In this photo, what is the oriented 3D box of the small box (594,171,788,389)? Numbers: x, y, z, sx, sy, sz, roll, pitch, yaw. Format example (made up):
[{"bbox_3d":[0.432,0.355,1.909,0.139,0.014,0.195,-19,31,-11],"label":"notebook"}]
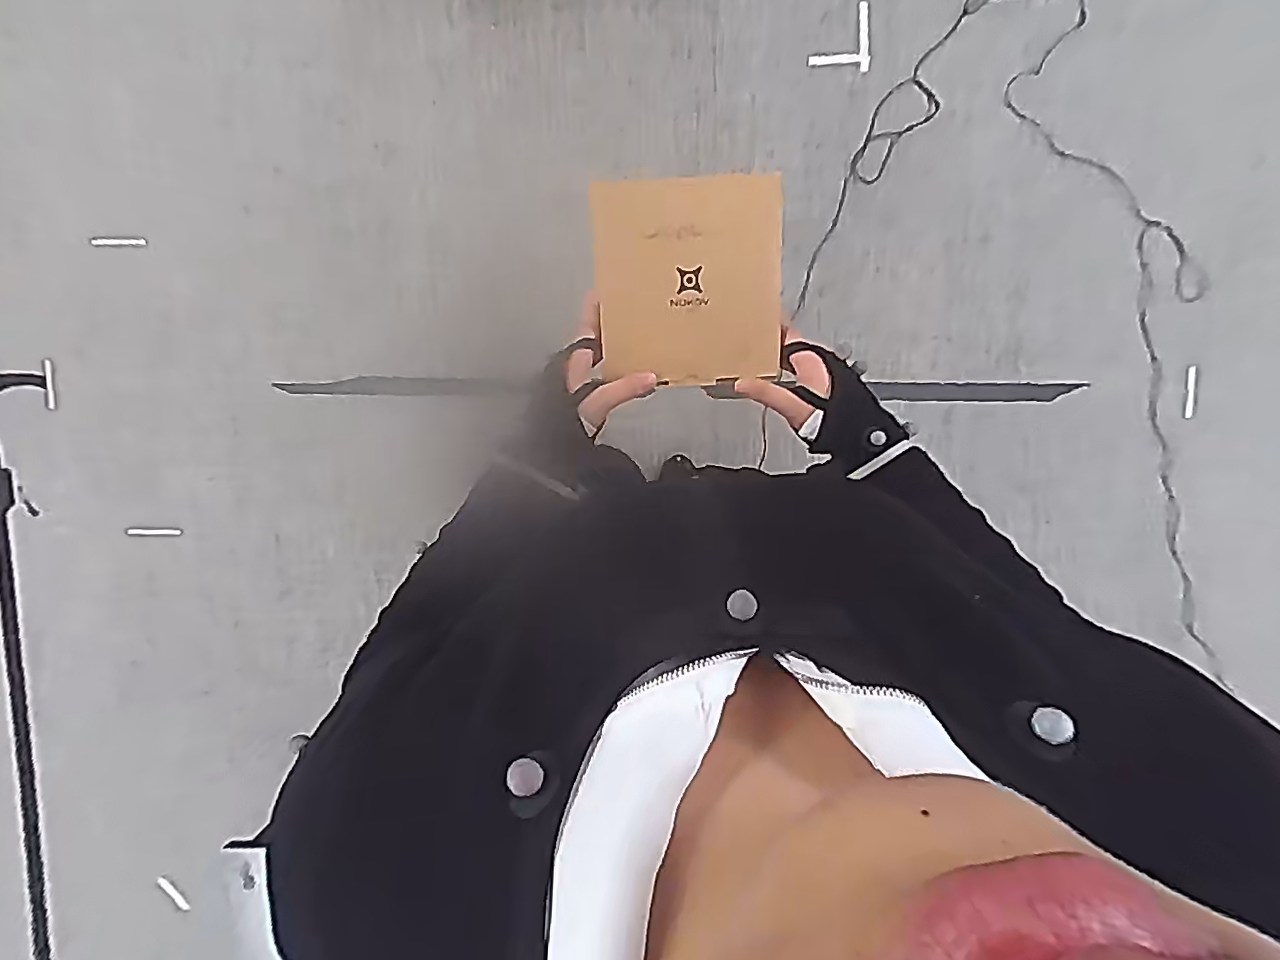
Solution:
[{"bbox_3d":[0.046,-0.193,0.552,0.168,0.176,0.179,-4,105,0],"label":"small box"}]
